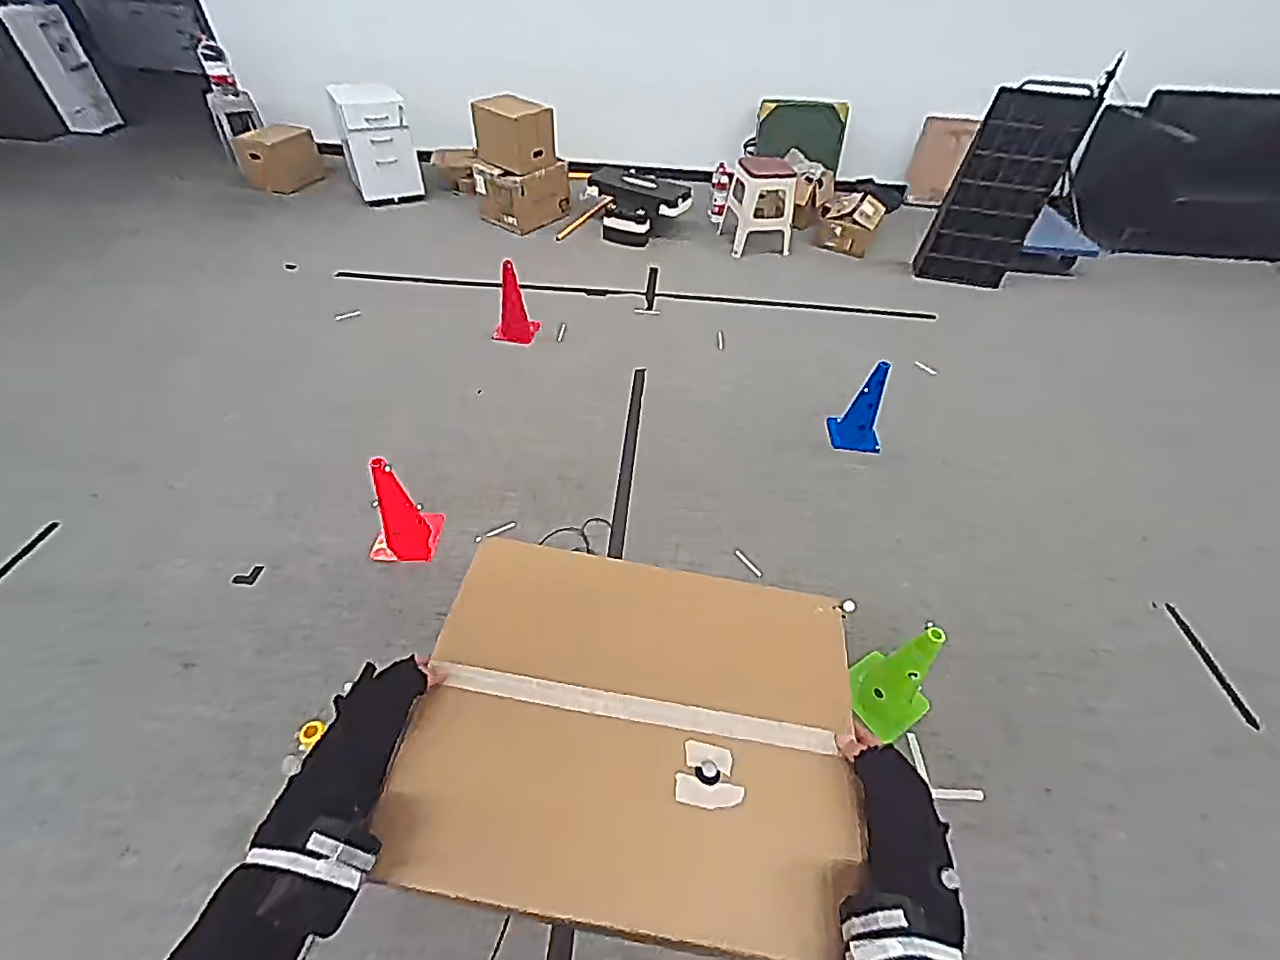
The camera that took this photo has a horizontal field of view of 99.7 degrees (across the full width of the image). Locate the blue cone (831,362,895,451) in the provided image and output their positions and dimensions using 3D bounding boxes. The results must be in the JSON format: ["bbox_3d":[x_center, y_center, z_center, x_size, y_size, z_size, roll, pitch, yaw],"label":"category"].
[{"bbox_3d":[0.921,-0.308,2.170,0.192,0.380,0.193,8,47,2],"label":"blue cone"}]

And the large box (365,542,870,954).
[{"bbox_3d":[-0.016,0.310,0.621,0.408,0.320,0.320,10,49,1],"label":"large box"}]

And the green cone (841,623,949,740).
[{"bbox_3d":[0.689,0.478,1.389,0.202,0.368,0.200,-23,53,-25],"label":"green cone"}]

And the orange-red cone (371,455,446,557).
[{"bbox_3d":[-0.761,0.061,1.684,0.198,0.360,0.199,2,48,0],"label":"orange-red cone"}]

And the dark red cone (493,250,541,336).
[{"bbox_3d":[-0.596,-0.889,2.557,0.201,0.394,0.202,10,47,4],"label":"dark red cone"}]
